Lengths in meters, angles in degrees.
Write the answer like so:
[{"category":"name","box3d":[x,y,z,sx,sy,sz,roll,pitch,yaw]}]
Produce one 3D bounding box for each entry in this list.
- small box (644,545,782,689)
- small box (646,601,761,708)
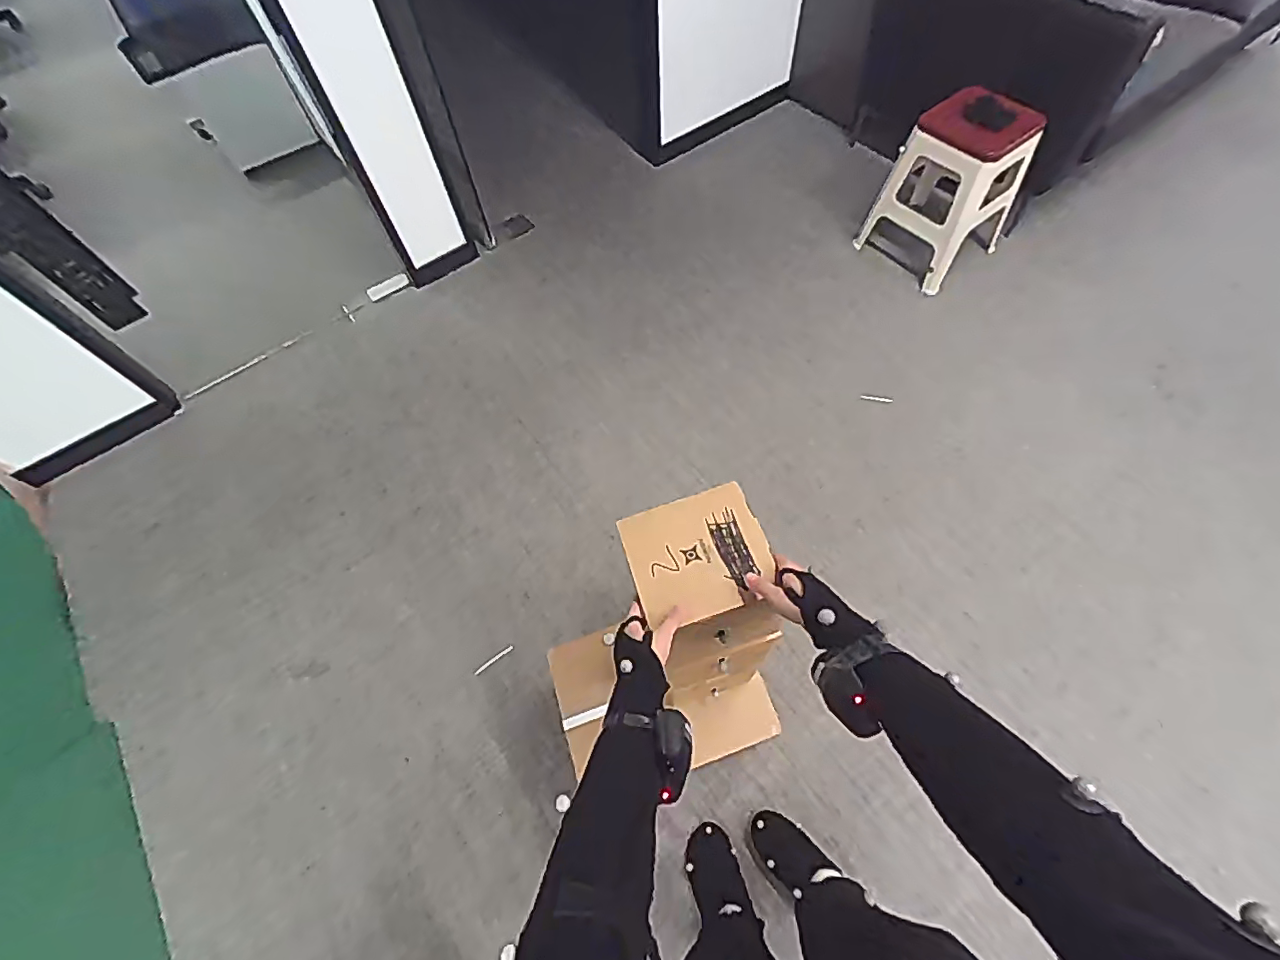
[{"category":"small box","box3d":[0.113,0.233,0.903,0.179,0.176,0.168,-16,59,-5]},{"category":"small box","box3d":[0.114,0.317,1.042,0.168,0.176,0.179,-17,60,-6]}]
